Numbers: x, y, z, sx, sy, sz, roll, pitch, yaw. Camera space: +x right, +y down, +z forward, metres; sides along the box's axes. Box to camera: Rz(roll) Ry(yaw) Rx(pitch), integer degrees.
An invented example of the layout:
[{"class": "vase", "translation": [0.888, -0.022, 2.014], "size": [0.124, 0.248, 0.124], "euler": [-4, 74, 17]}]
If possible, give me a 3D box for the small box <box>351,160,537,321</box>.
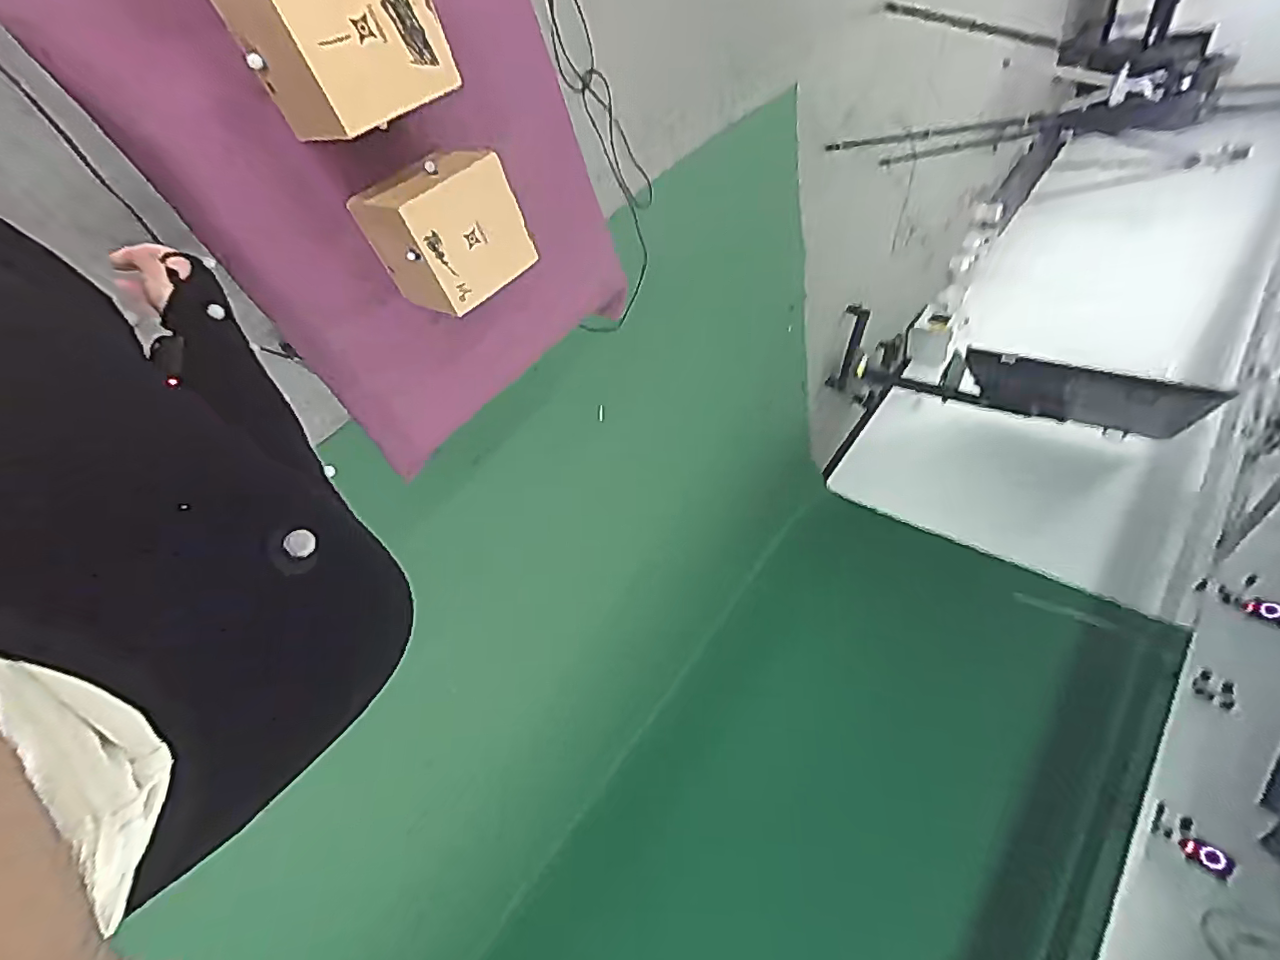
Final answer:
[{"class": "small box", "translation": [-0.299, -0.374, 0.834], "size": [0.179, 0.176, 0.168], "euler": [-47, 140, -24]}]
